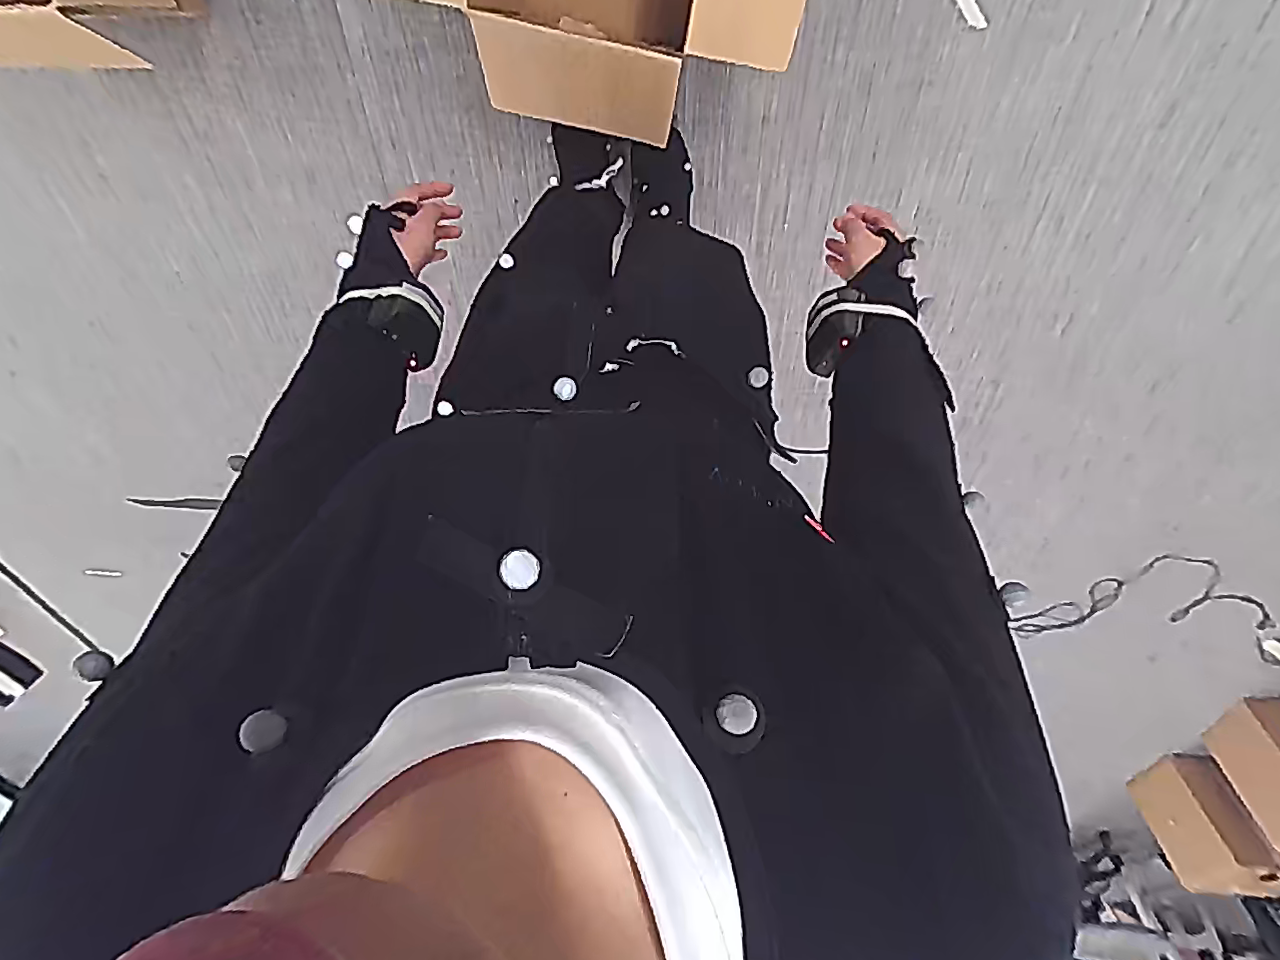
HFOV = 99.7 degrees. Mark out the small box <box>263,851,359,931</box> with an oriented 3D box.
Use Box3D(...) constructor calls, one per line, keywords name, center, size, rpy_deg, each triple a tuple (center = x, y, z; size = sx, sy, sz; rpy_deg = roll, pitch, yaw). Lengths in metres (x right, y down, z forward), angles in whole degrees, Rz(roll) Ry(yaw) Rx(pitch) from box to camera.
Box3D(name="small box", center=(-1.041, 1.308, 1.727), size=(0.179, 0.176, 0.168), rpy_deg=(4, 131, 2))
